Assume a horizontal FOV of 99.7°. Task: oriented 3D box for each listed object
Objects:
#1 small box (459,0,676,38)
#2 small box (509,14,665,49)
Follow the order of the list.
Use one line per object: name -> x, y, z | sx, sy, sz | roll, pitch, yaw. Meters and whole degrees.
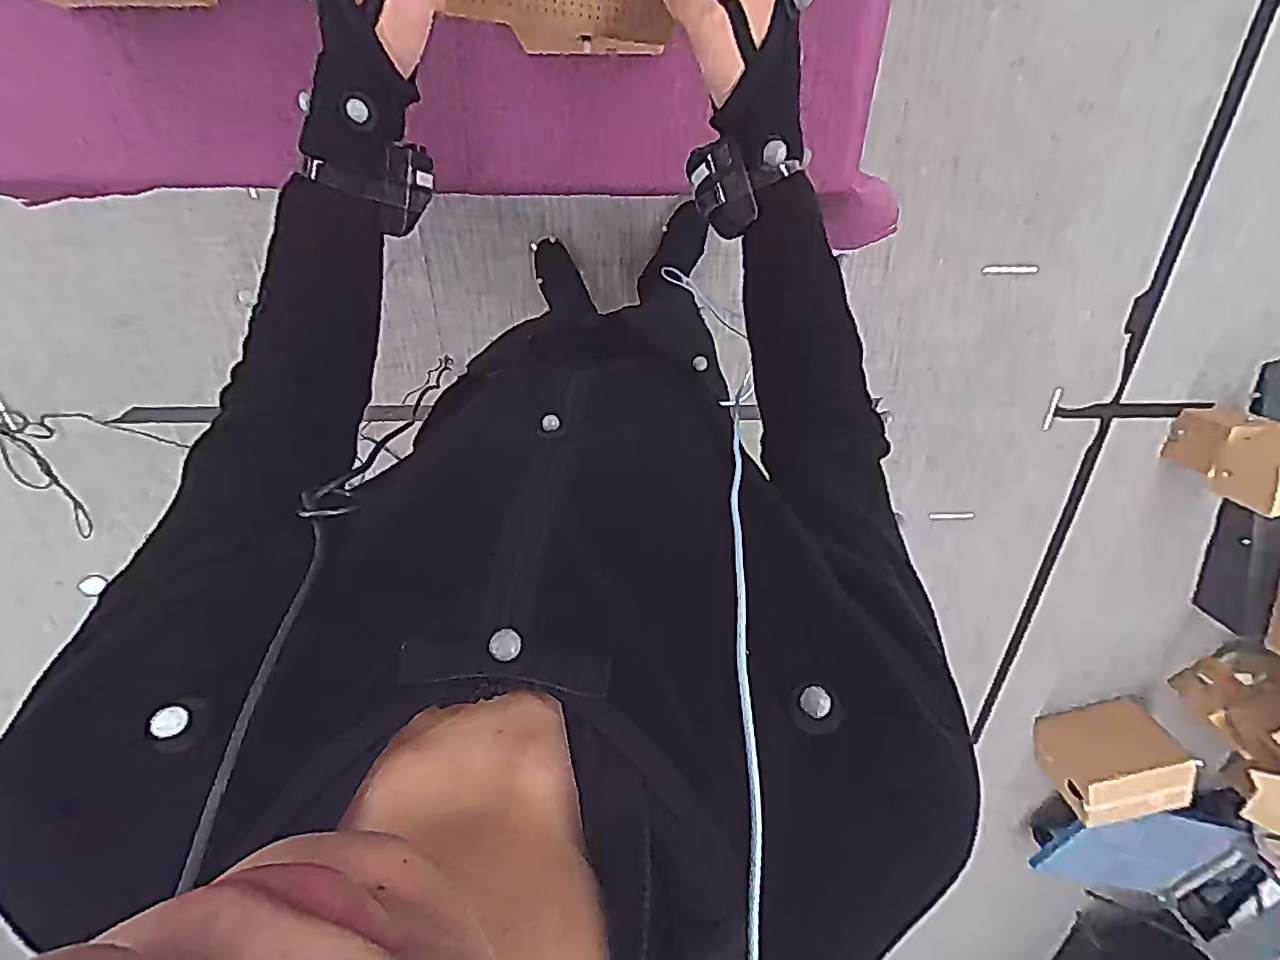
small box -> -0.049, -0.440, 0.358 | 0.179, 0.168, 0.176 | 0, 160, -11
small box -> -0.049, -0.559, 0.543 | 0.168, 0.176, 0.179 | -1, 118, -3
